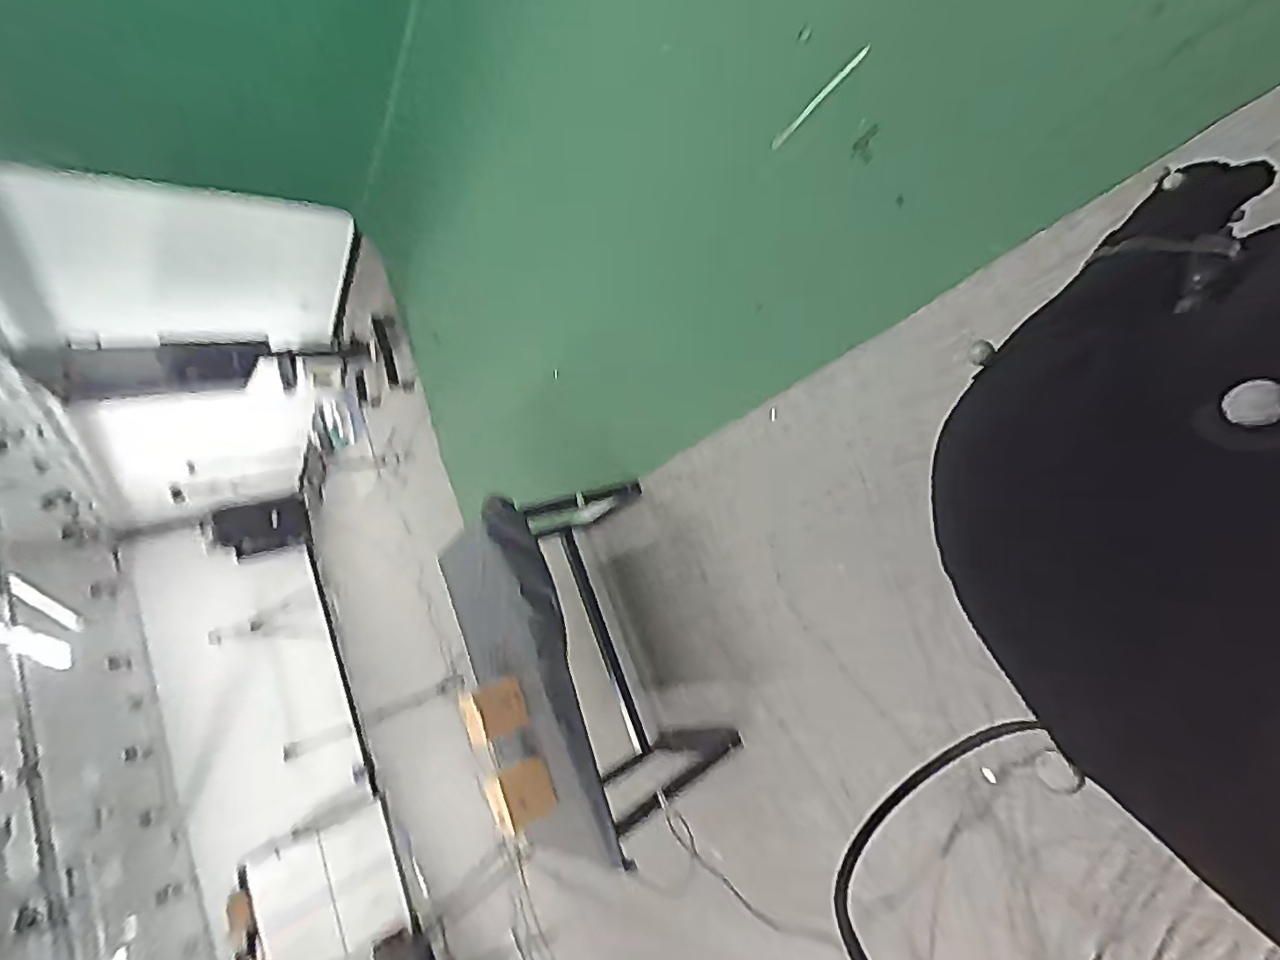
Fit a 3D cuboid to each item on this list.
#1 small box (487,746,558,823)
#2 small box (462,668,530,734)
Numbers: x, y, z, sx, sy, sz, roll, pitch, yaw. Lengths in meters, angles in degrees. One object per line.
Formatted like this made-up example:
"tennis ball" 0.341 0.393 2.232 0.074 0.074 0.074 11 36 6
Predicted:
"small box" -0.409 1.063 1.897 0.168 0.176 0.179 -36 72 49
"small box" -0.513 0.793 1.945 0.179 0.176 0.168 -33 75 49
